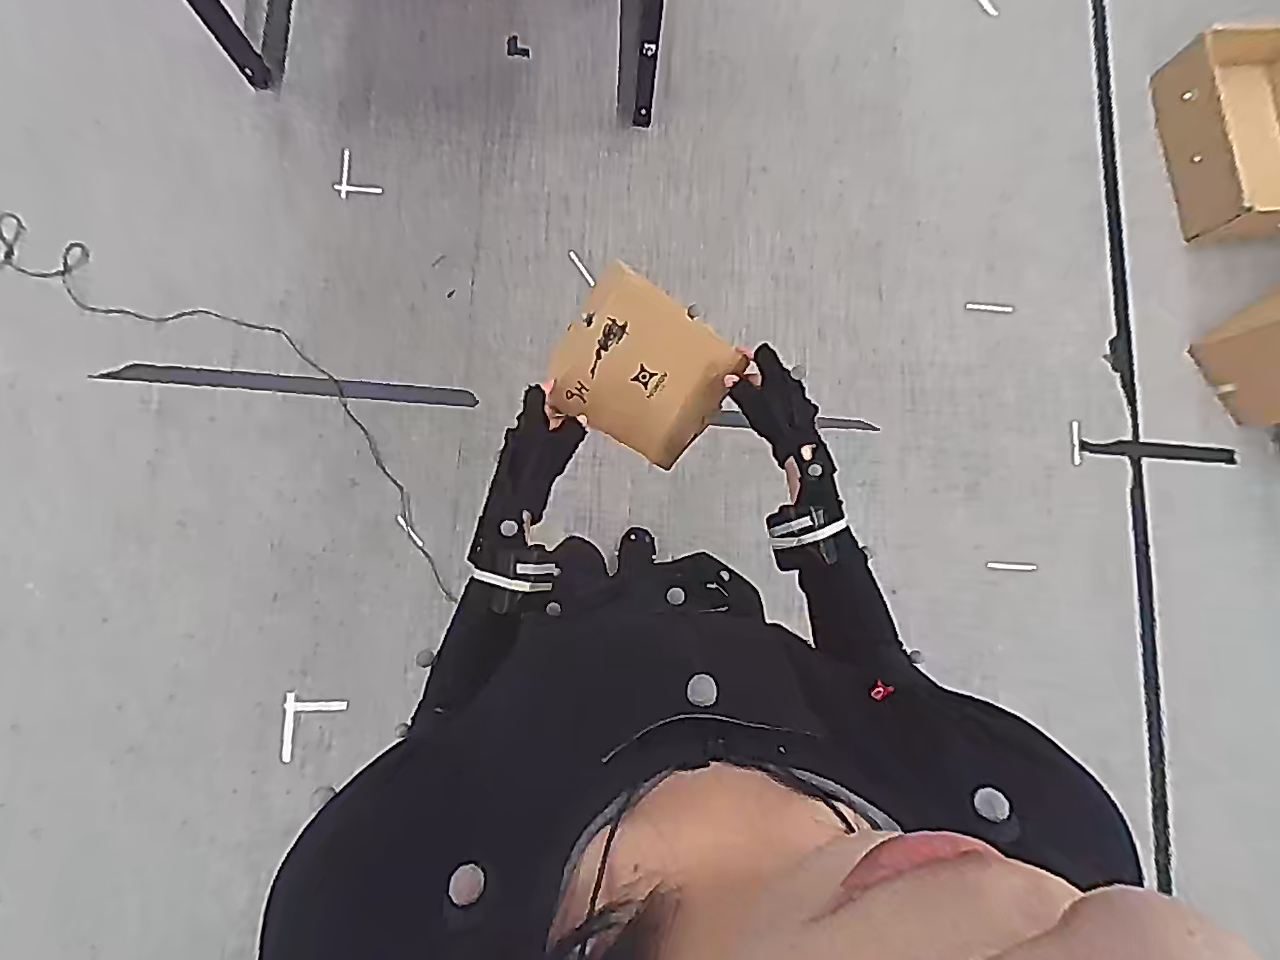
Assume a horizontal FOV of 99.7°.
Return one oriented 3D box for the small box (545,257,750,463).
[{"bbox_3d":[-0.001,-0.155,0.666,0.179,0.176,0.168,29,109,-21],"label":"small box"}]
